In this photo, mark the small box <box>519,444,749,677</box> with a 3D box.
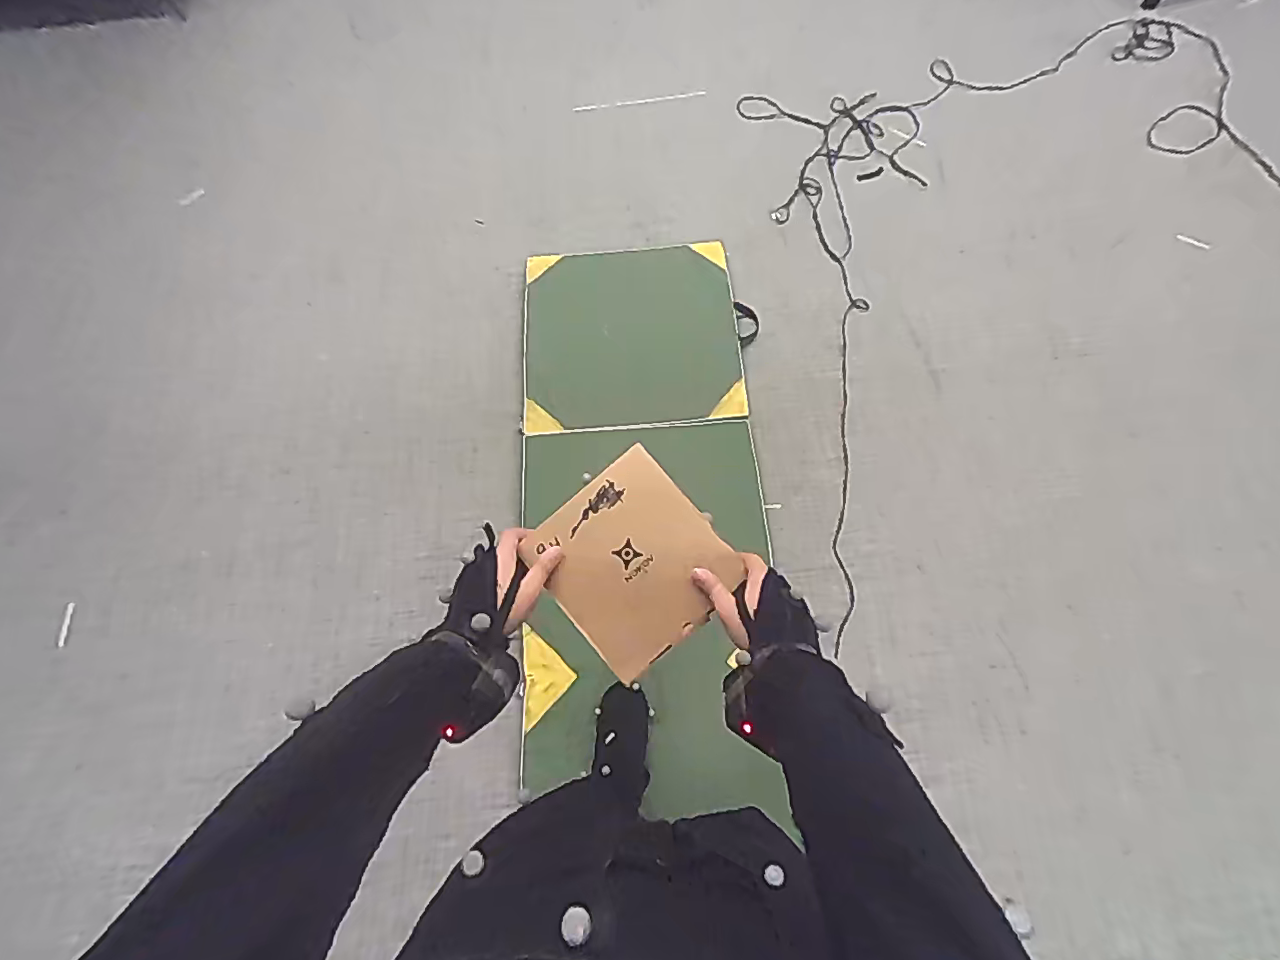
[{"bbox_3d":[-0.003,0.086,0.616,0.168,0.176,0.179,-40,83,-4],"label":"small box"}]
